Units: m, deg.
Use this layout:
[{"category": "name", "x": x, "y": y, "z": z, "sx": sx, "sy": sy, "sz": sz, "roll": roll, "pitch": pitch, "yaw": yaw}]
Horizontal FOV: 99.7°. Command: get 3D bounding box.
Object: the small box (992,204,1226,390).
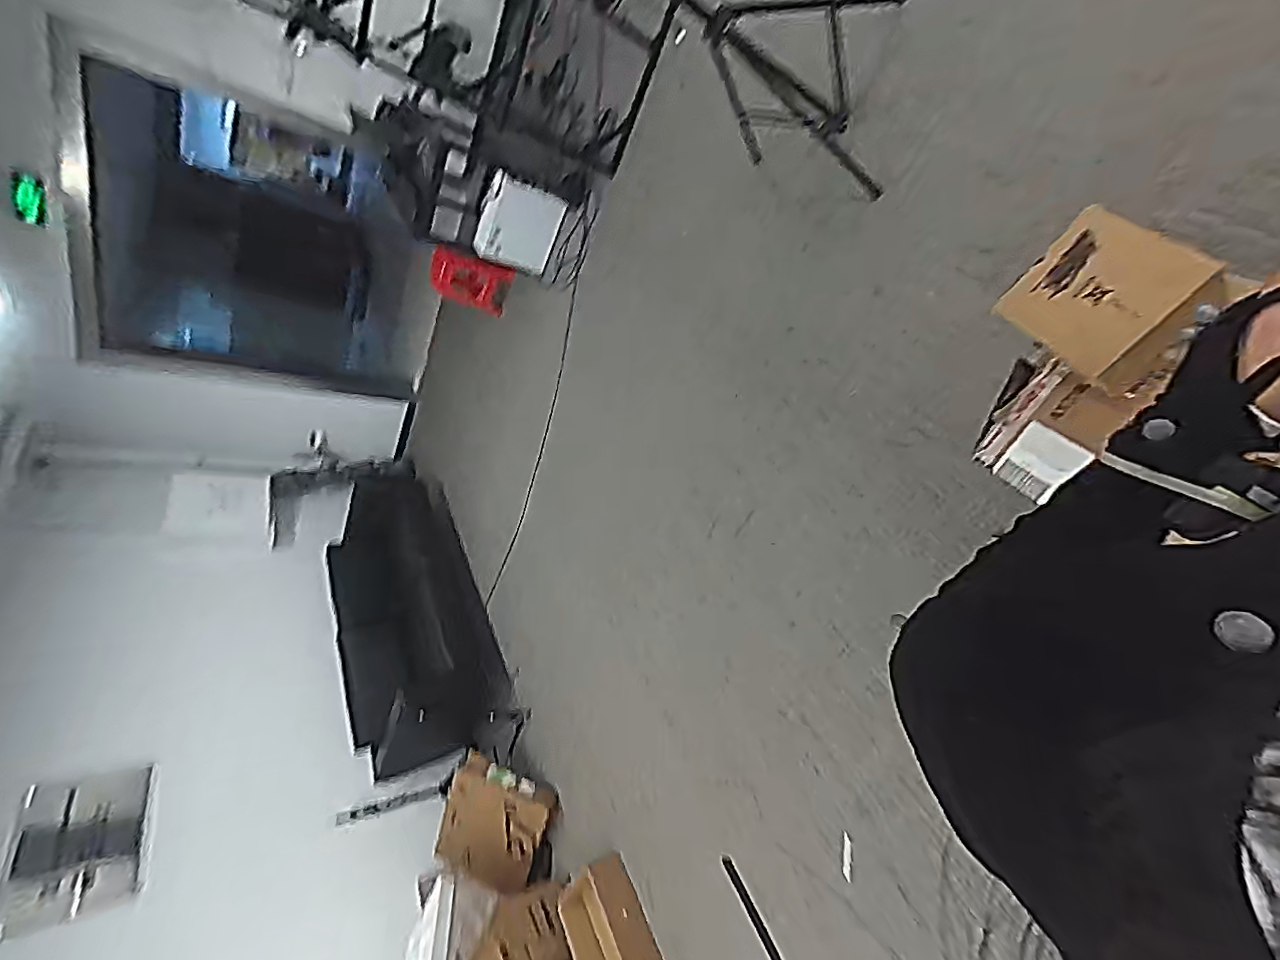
[{"category": "small box", "x": 0.653, "y": -0.245, "z": 0.760, "sx": 0.168, "sy": 0.176, "sz": 0.179, "roll": -56, "pitch": 49, "yaw": 31}]
